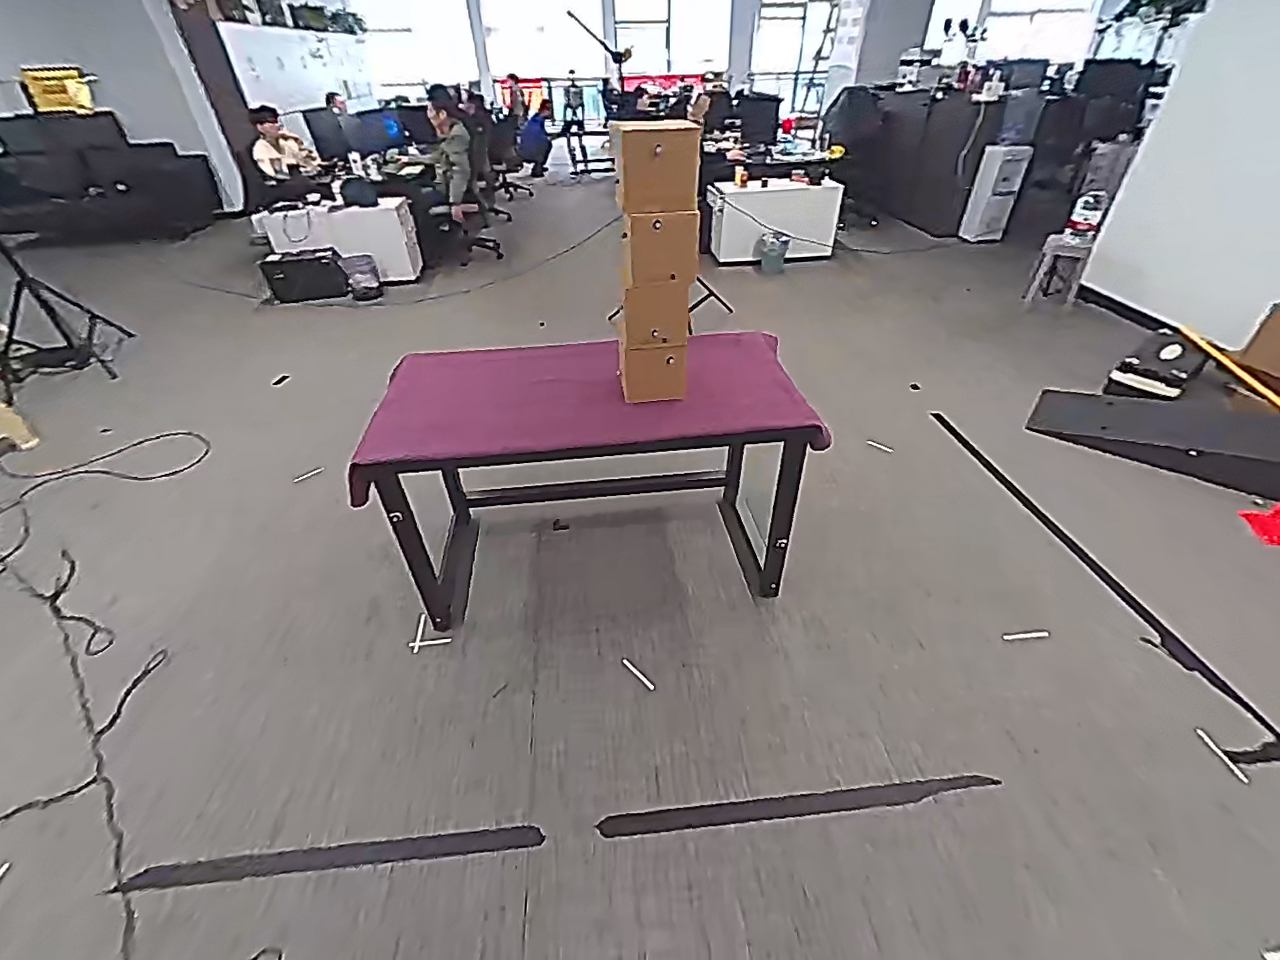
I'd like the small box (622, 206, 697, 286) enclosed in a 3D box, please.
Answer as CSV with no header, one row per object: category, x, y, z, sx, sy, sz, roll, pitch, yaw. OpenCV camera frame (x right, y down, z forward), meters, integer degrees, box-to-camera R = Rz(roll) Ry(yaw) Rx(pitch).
small box,0.042,-0.599,1.361,0.168,0.176,0.179,-6,38,-5

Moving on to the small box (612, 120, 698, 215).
small box,0.030,-0.733,1.269,0.179,0.176,0.168,-7,39,-6

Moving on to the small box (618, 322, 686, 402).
small box,0.031,-0.339,1.562,0.179,0.176,0.168,-6,38,-5
